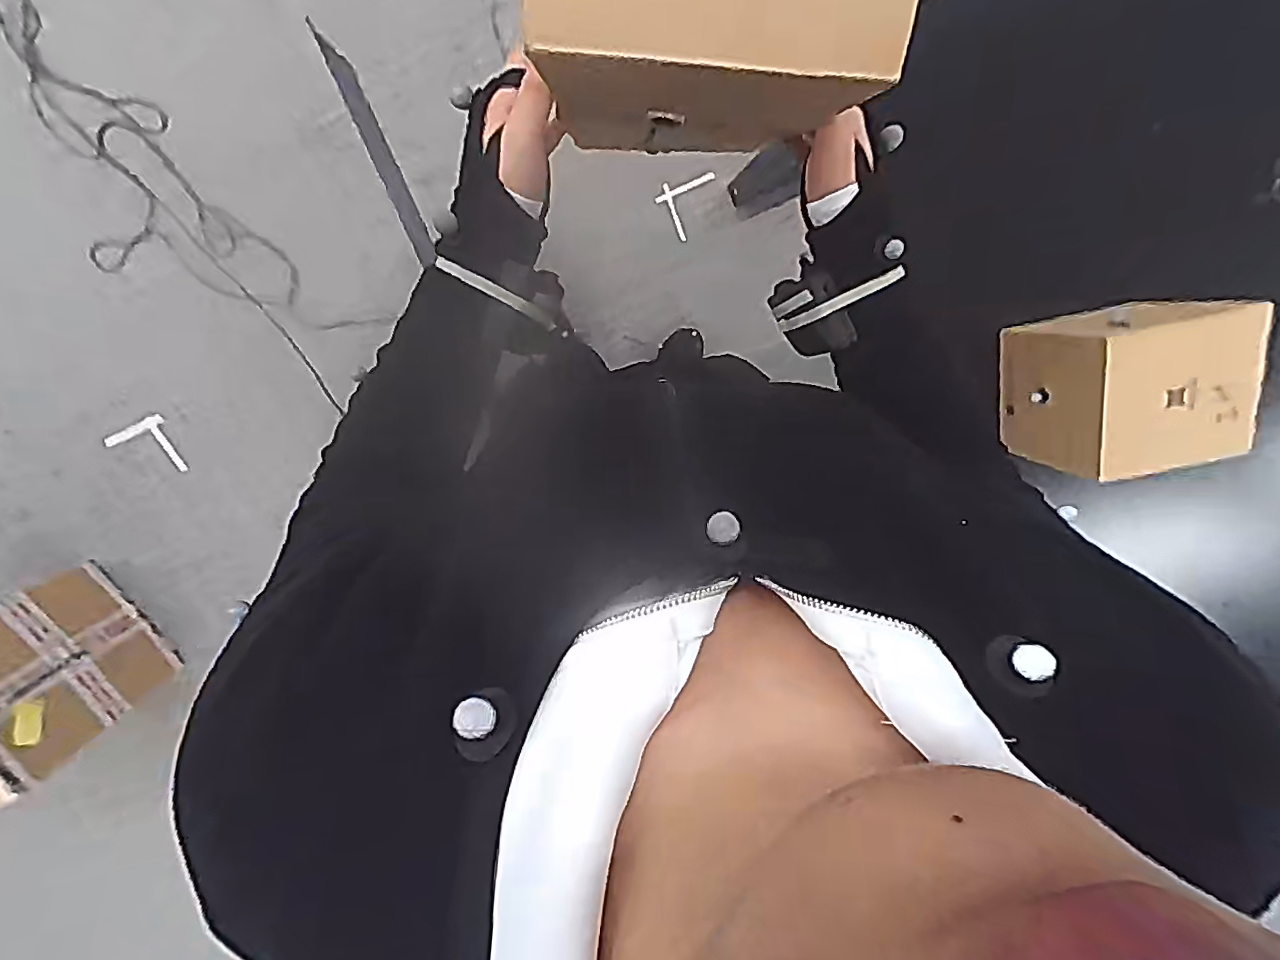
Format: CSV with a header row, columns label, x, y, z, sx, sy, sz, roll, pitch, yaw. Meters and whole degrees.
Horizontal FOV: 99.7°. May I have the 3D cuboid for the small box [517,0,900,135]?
label,x,y,z,sx,sy,sz,roll,pitch,yaw
small box,0.032,-0.295,0.275,0.168,0.176,0.179,2,116,-1

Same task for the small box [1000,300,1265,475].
label,x,y,z,sx,sy,sz,roll,pitch,yaw
small box,0.580,-0.119,0.666,0.179,0.176,0.168,-12,108,0

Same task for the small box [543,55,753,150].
label,x,y,z,sx,sy,sz,roll,pitch,yaw
small box,0.021,-0.364,0.423,0.179,0.176,0.168,0,115,0
